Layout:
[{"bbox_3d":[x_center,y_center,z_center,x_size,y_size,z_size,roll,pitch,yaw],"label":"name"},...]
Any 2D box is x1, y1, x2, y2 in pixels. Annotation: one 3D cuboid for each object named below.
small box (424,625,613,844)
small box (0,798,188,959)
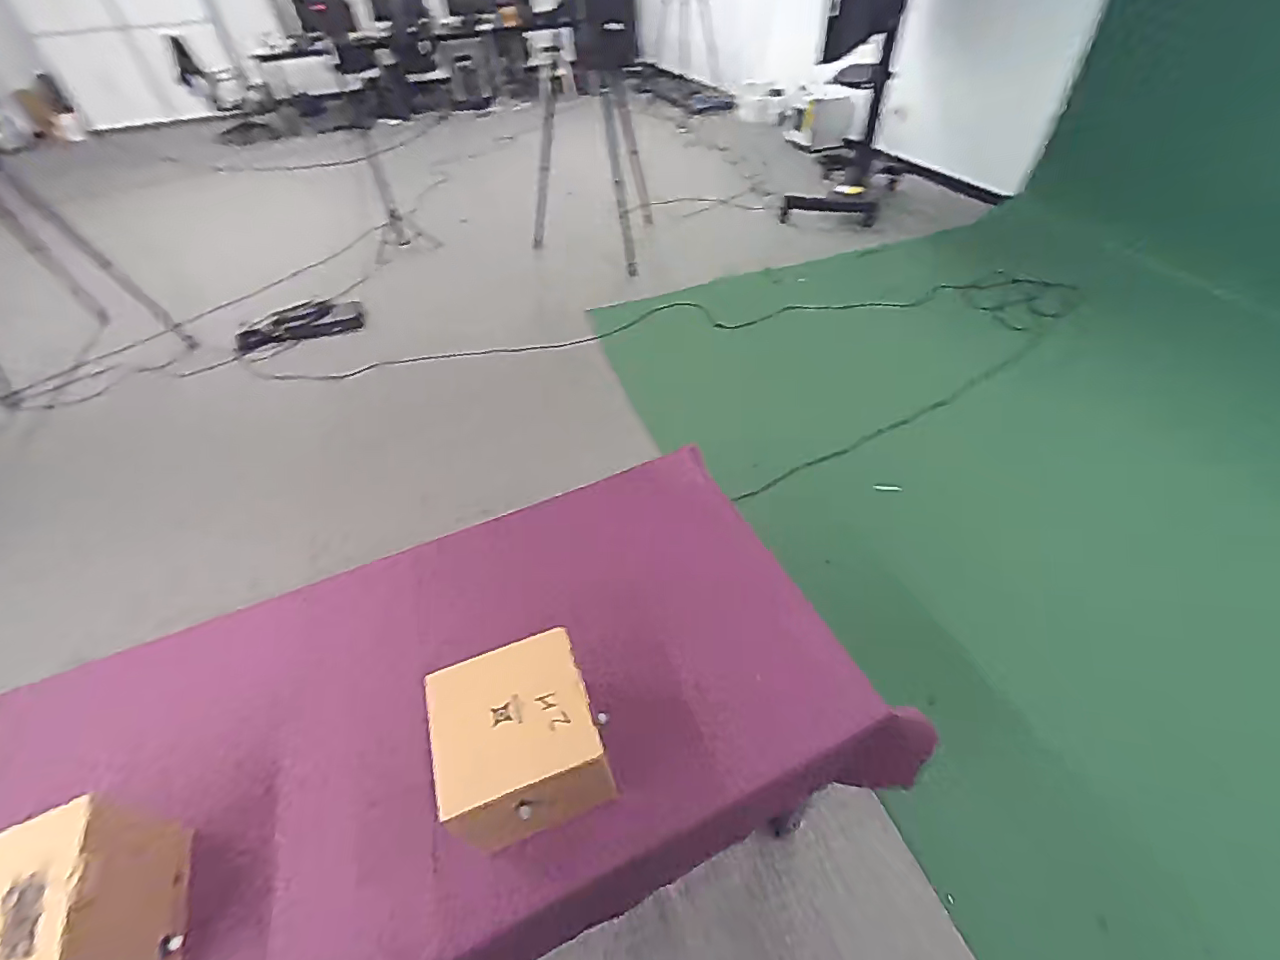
[{"bbox_3d":[-0.145,0.316,0.666,0.179,0.176,0.168,-17,48,-12],"label":"small box"},{"bbox_3d":[-0.615,0.469,0.555,0.179,0.176,0.168,-23,48,-15],"label":"small box"}]
